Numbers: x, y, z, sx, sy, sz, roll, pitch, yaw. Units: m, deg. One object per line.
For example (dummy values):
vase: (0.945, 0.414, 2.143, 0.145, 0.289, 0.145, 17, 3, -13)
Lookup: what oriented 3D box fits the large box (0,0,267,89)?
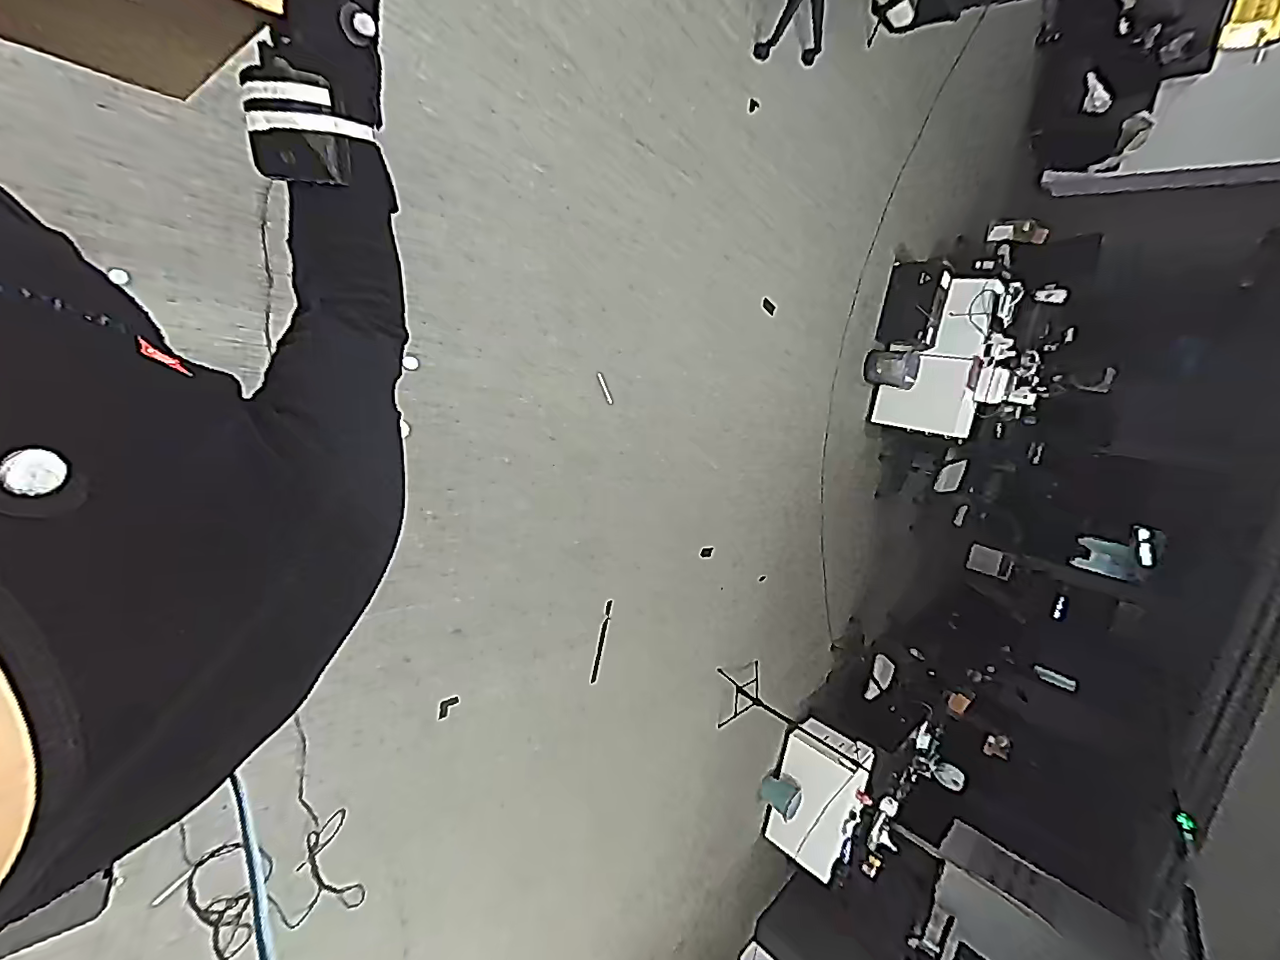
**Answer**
large box: (-0.453, -0.468, 0.255, 0.408, 0.320, 0.320, -7, 111, -48)
